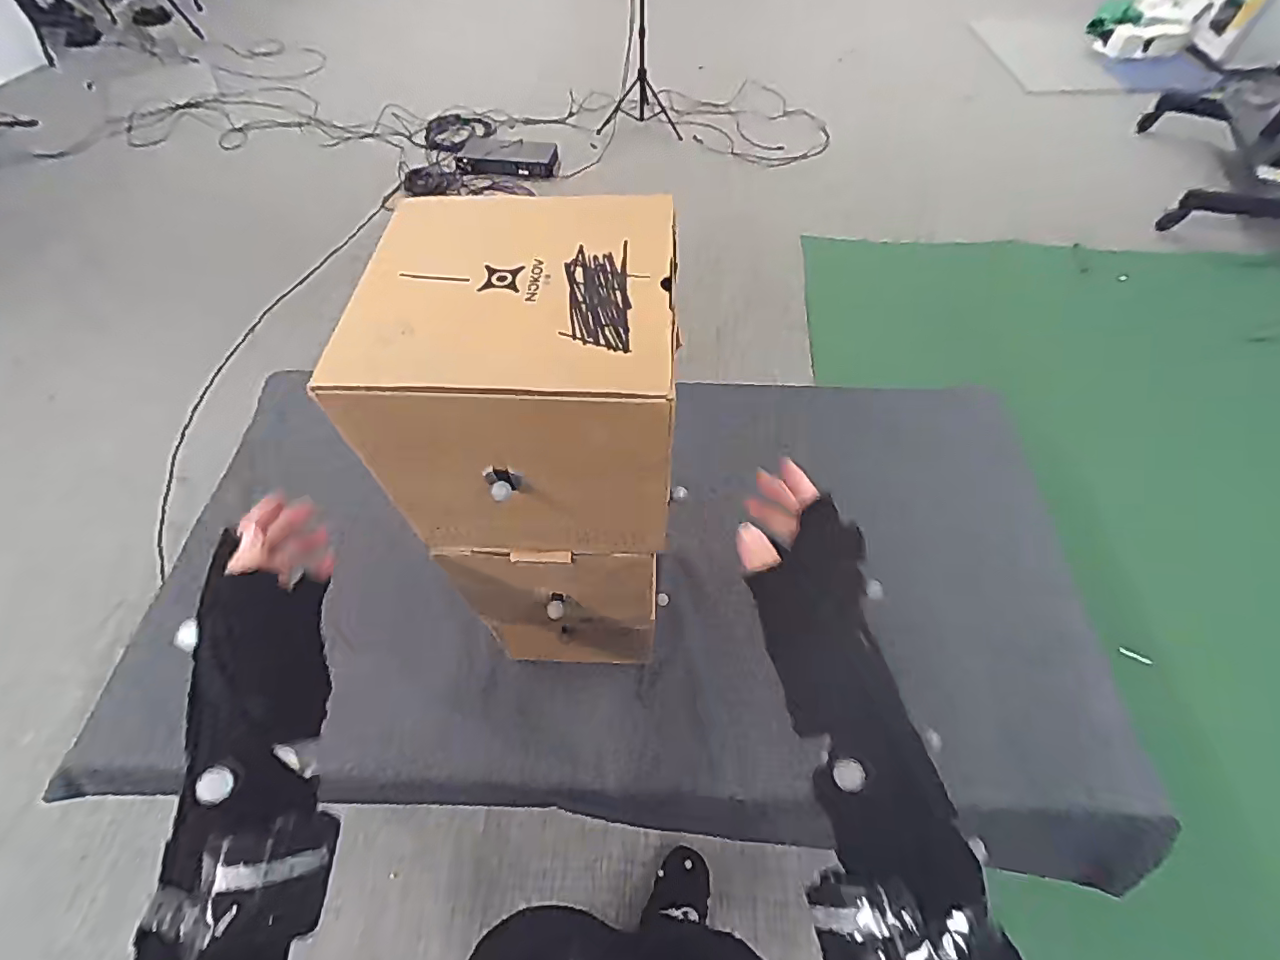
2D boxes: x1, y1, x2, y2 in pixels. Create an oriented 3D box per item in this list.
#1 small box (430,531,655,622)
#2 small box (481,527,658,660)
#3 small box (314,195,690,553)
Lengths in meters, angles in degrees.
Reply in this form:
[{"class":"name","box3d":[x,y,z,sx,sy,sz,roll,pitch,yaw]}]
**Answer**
[{"class":"small box","box3d":[-0.069,0.026,0.500,0.168,0.176,0.179,0,59,1]},{"class":"small box","box3d":[-0.068,0.110,0.640,0.179,0.176,0.168,2,58,0]},{"class":"small box","box3d":[-0.065,-0.059,0.358,0.179,0.176,0.168,0,57,-1]}]
